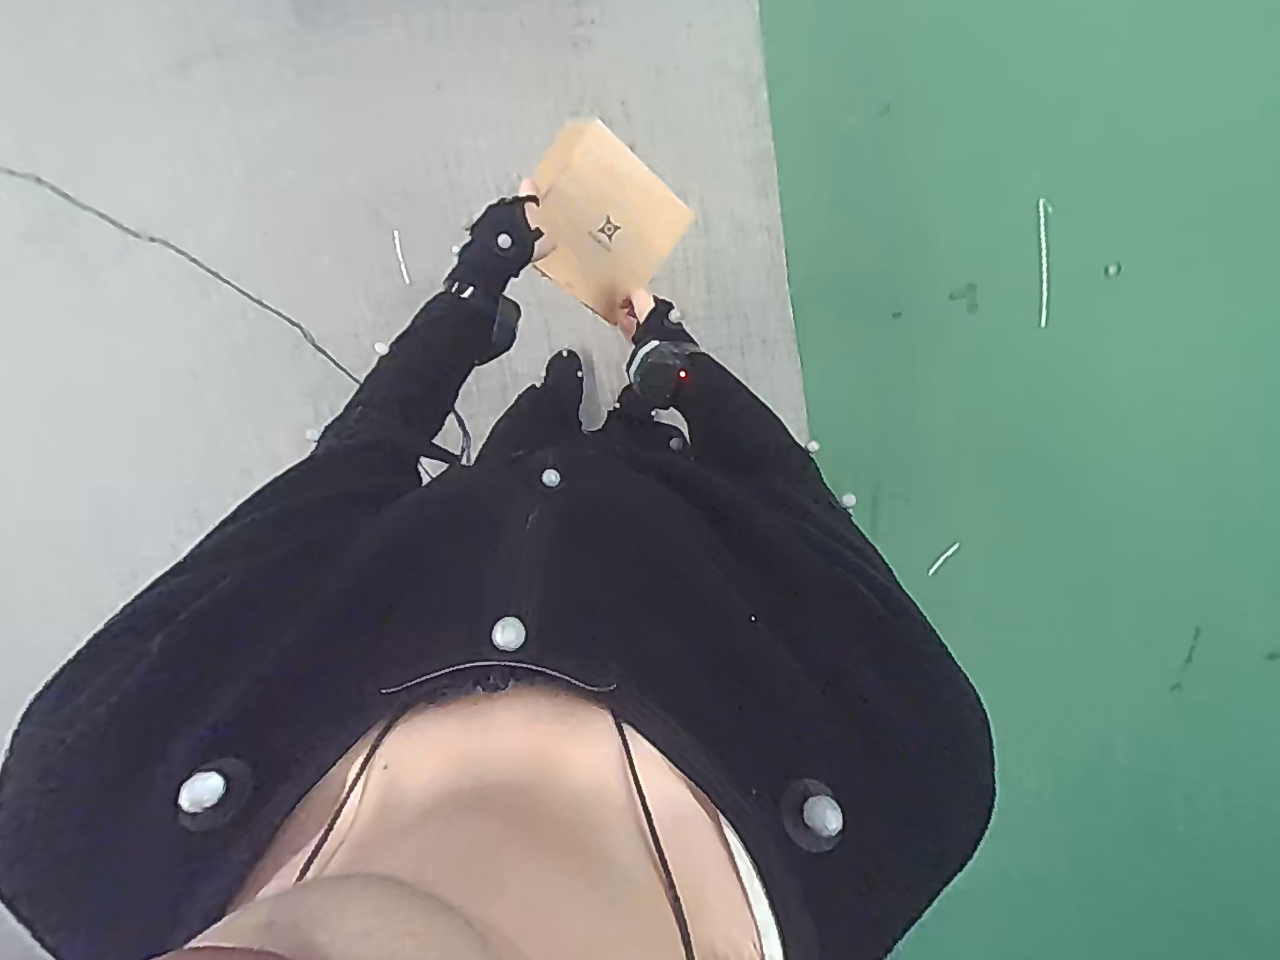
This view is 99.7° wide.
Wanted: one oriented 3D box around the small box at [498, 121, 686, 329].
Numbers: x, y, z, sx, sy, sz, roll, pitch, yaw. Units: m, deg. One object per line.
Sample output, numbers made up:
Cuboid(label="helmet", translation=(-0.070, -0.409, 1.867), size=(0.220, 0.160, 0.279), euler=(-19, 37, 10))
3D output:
Cuboid(label="small box", translation=(-0.075, -0.339, 0.722), size=(0.168, 0.176, 0.179), euler=(29, 107, -32))
